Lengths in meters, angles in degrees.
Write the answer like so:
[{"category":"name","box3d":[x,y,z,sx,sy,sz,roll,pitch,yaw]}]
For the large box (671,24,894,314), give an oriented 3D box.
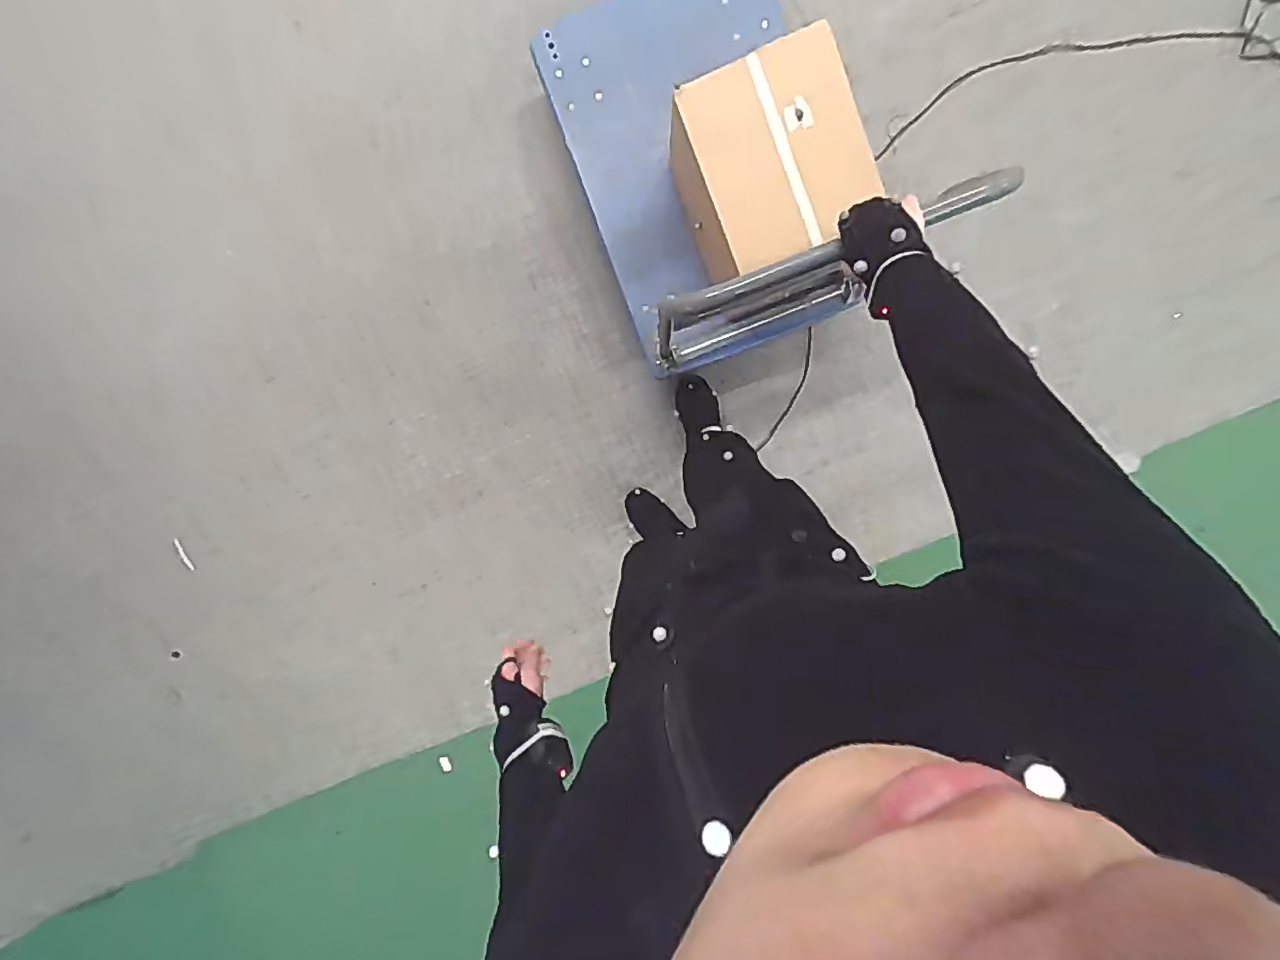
[{"category":"large box","box3d":[0.286,-0.634,1.189,0.320,0.320,0.408,-23,97,4]}]
